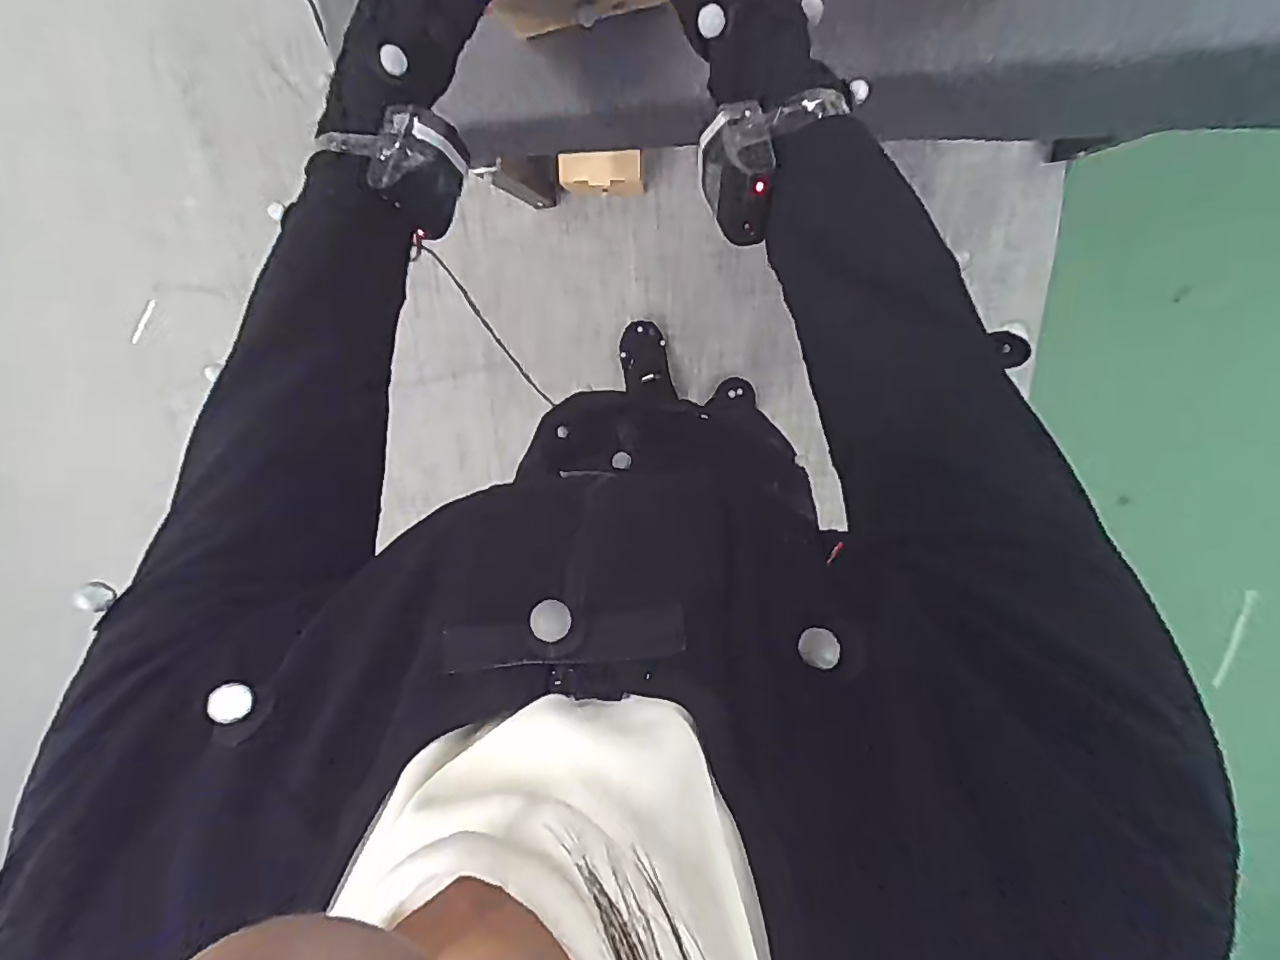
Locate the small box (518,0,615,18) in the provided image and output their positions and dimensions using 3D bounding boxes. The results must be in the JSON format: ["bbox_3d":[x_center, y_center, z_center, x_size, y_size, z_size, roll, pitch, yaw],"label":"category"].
[{"bbox_3d":[-0.054,-0.495,0.404,0.168,0.176,0.179,-6,116,8],"label":"small box"}]
